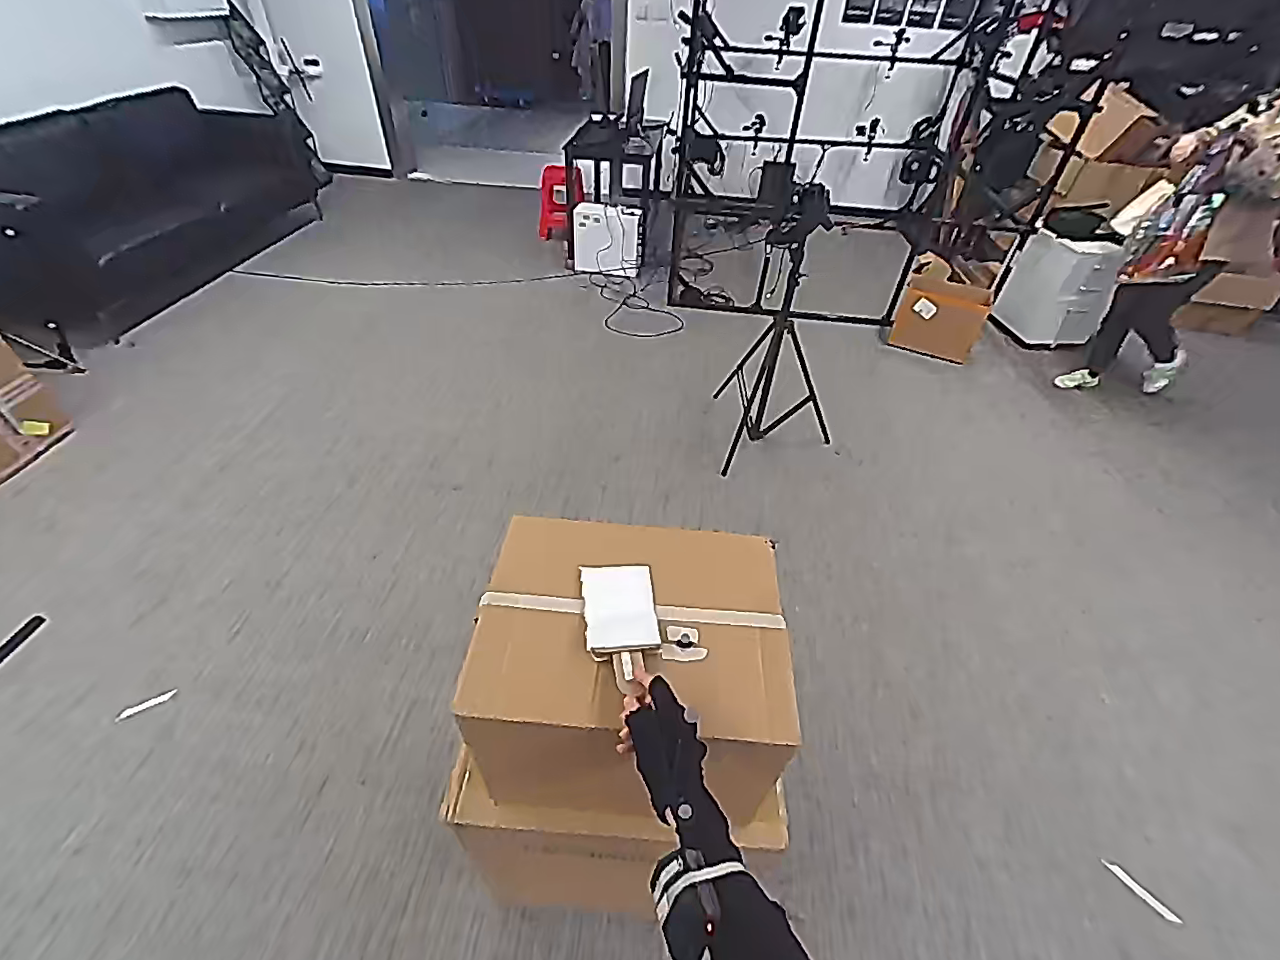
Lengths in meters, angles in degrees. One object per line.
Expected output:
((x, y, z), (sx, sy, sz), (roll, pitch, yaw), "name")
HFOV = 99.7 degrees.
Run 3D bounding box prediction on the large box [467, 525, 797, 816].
((-0.013, 0.297, 0.847), (0.408, 0.320, 0.320), (5, 43, 0), "large box")
